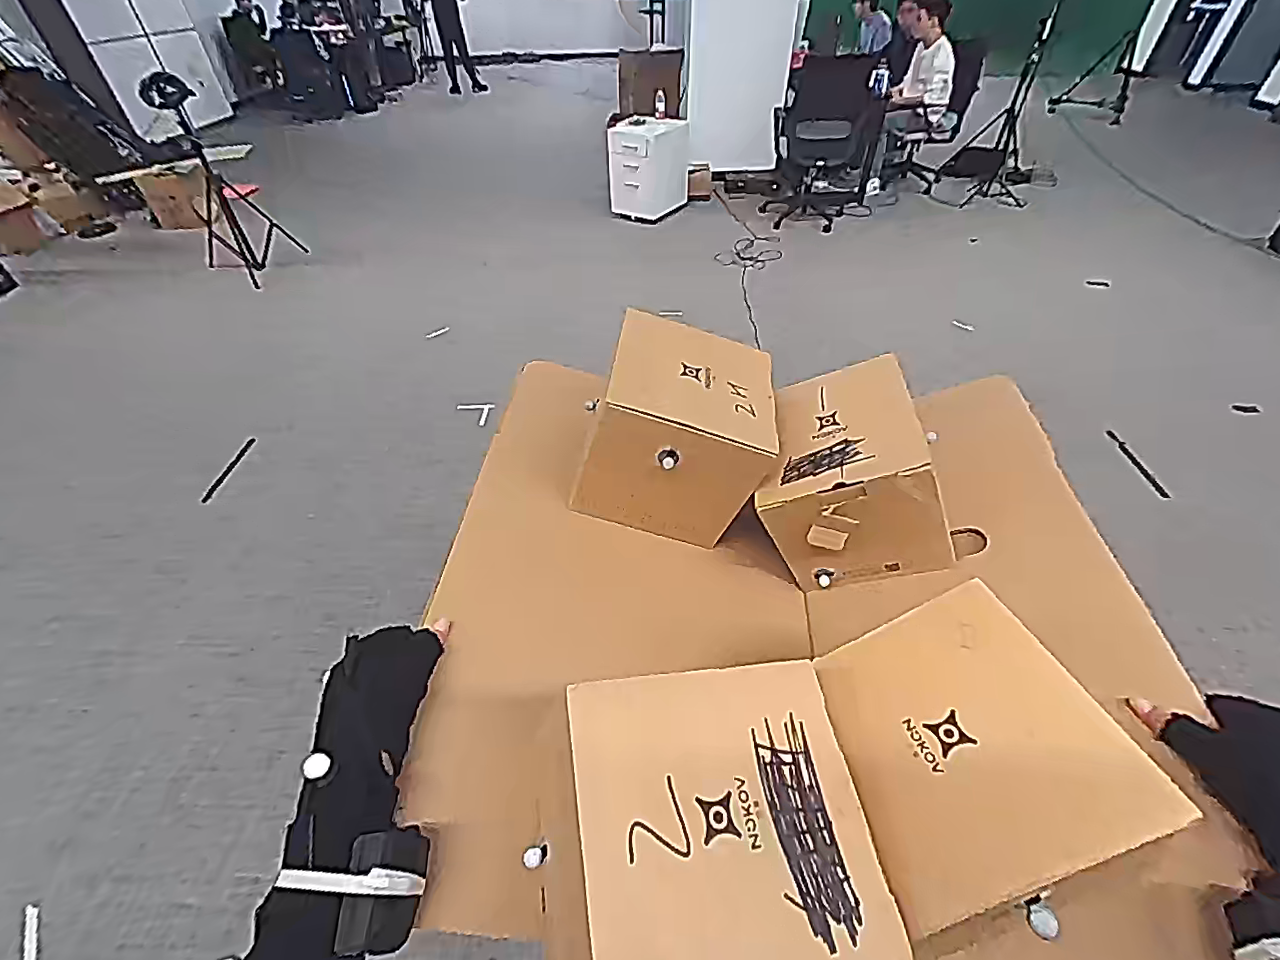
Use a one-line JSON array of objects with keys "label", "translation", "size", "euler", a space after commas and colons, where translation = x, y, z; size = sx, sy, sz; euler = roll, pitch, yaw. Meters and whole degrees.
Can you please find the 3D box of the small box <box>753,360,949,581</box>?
[{"label": "small box", "translation": [0.237, 0.001, 0.620], "size": [0.168, 0.176, 0.179], "euler": [-16, 41, 25]}]
